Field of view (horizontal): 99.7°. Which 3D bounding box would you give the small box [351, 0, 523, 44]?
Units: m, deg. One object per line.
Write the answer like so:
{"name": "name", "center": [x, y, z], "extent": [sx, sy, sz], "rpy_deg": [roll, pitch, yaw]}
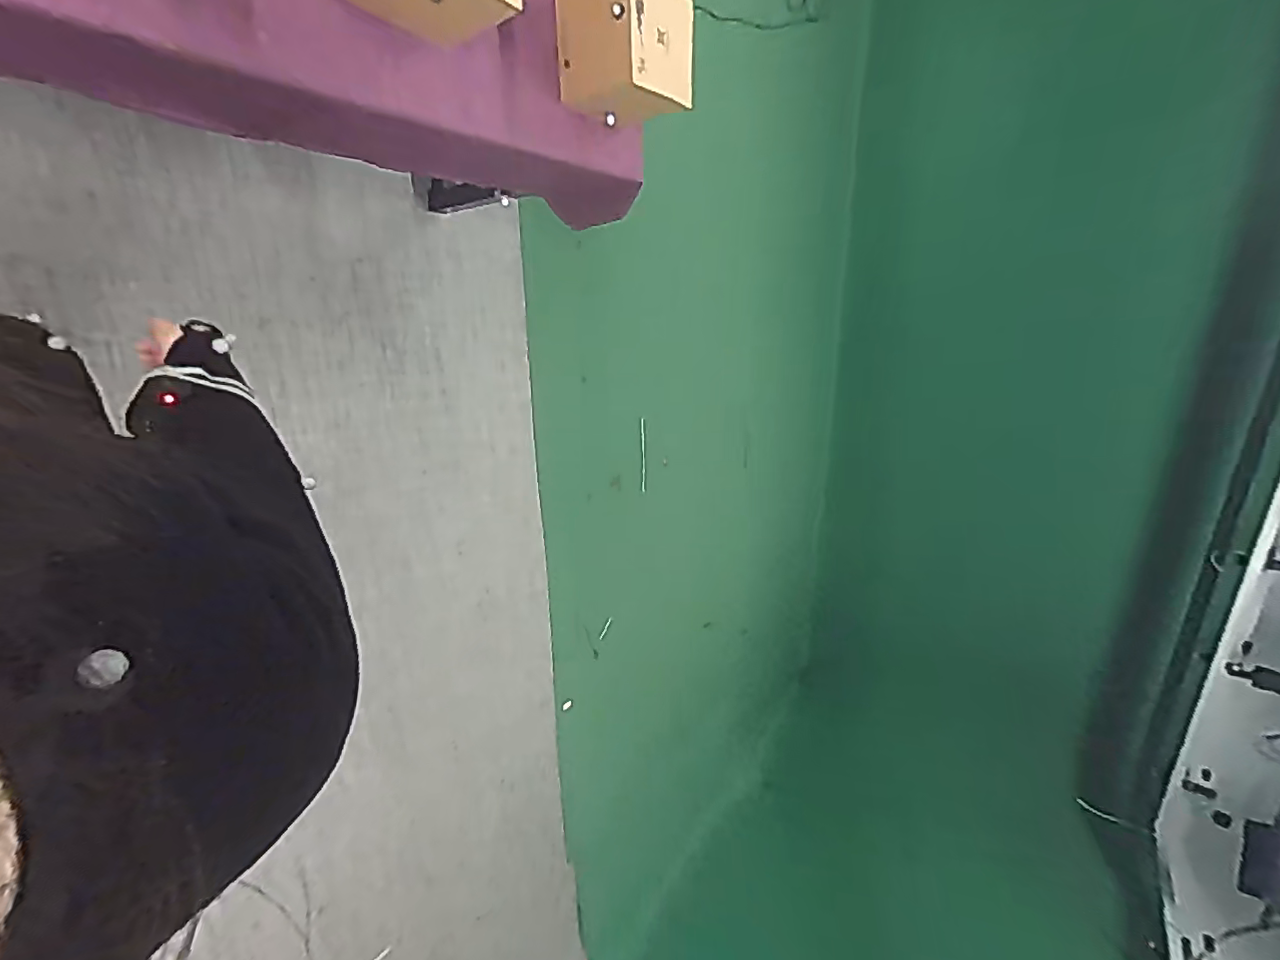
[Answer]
{"name": "small box", "center": [-0.267, -0.678, 0.660], "extent": [0.179, 0.176, 0.168], "rpy_deg": [-18, 114, -51]}

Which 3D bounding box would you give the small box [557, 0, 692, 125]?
{"name": "small box", "center": [-0.025, -0.751, 0.957], "extent": [0.179, 0.176, 0.168], "rpy_deg": [-23, 117, -48]}
